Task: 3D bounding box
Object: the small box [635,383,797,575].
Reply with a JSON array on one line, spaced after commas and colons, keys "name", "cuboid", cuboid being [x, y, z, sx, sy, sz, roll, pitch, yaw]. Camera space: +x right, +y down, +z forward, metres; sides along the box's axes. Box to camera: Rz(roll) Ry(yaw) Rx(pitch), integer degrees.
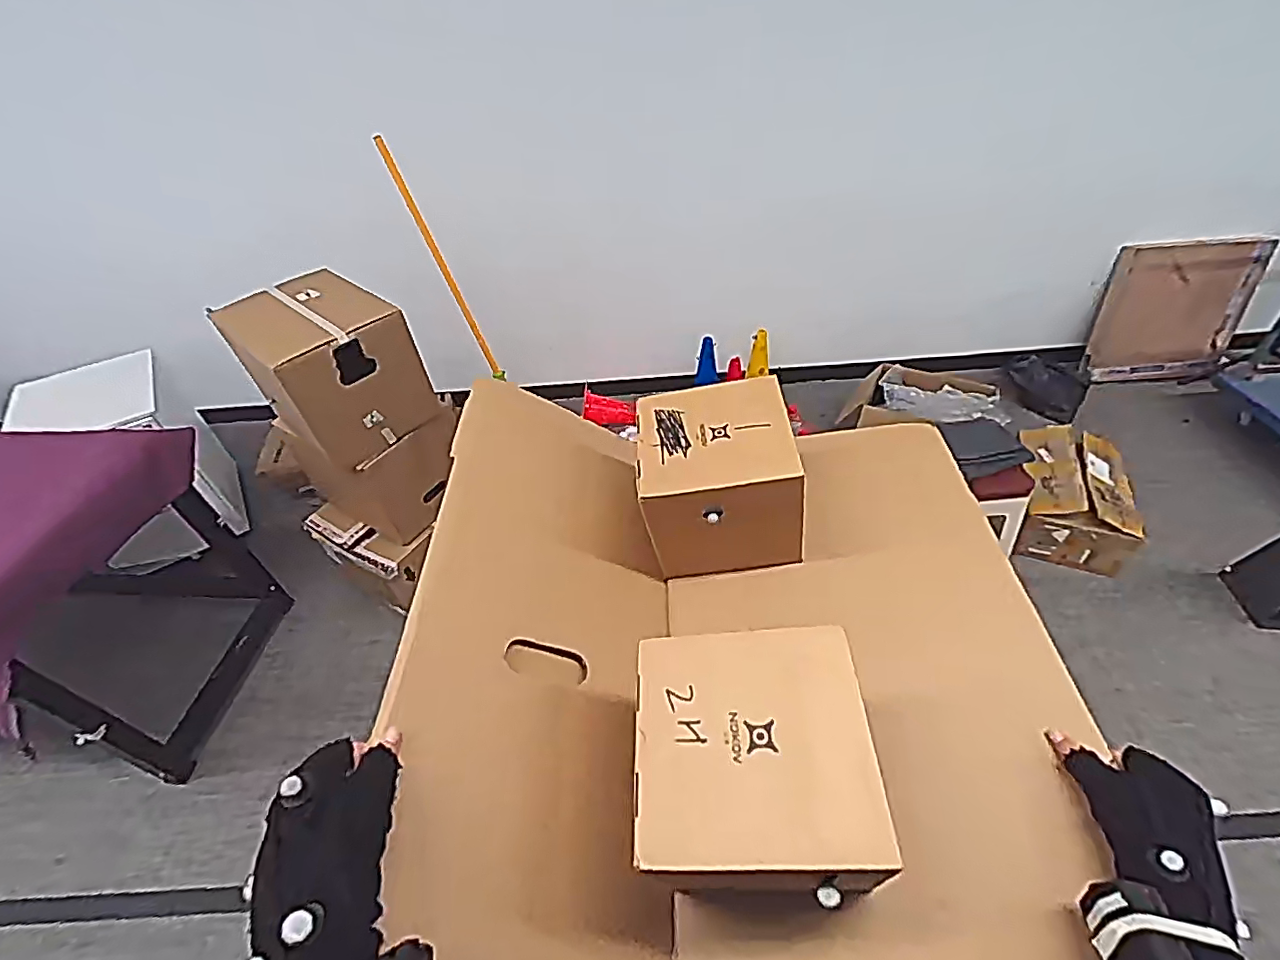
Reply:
[{"name": "small box", "cuboid": [0.096, 0.006, 0.682, 0.179, 0.176, 0.168, -8, 49, 8]}]
